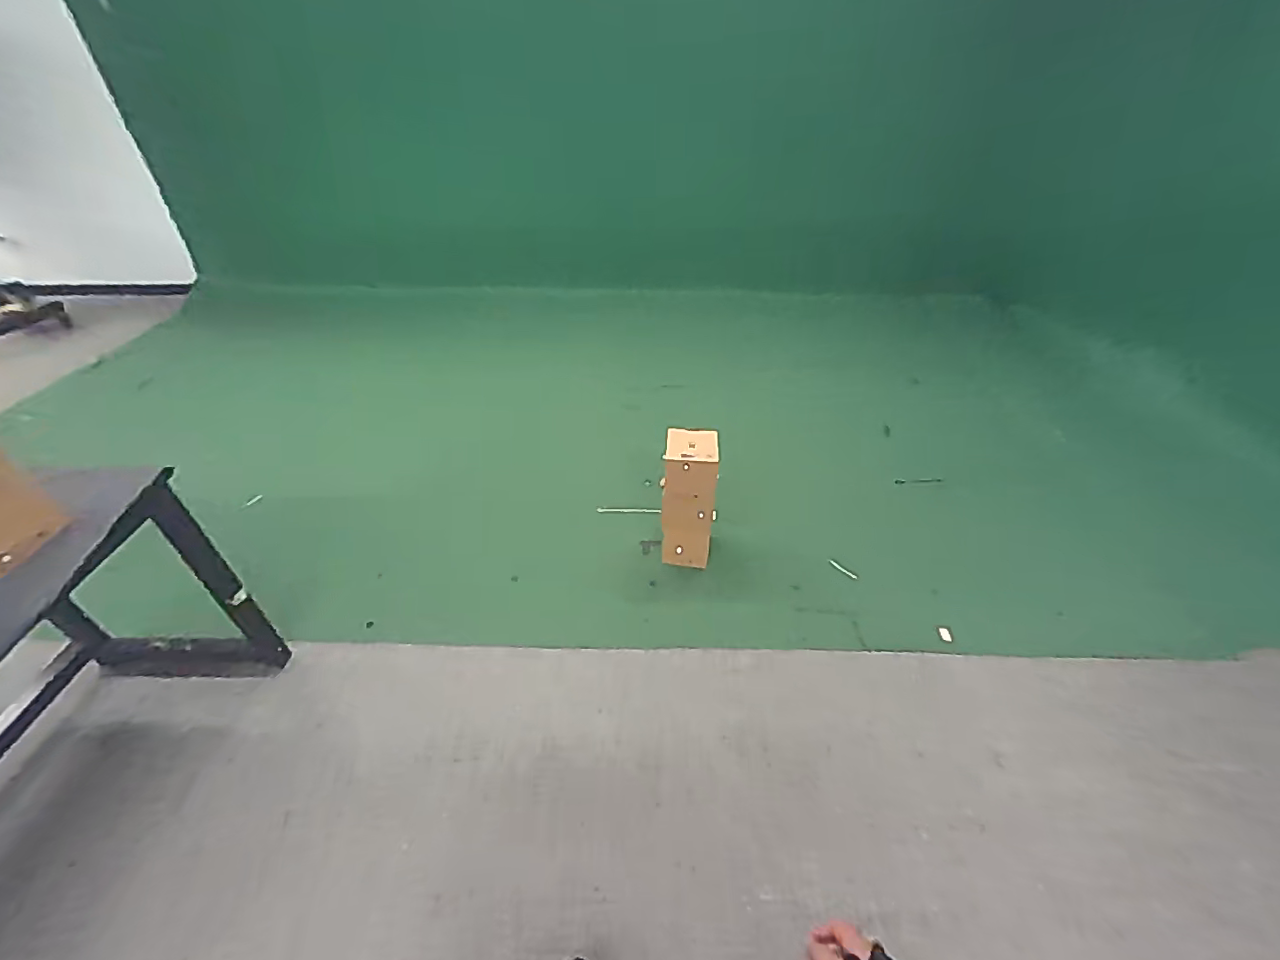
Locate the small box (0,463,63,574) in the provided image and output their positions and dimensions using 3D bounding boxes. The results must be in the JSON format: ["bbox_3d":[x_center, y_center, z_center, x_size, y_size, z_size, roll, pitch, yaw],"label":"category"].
[{"bbox_3d":[-1.243,0.081,0.983,0.179,0.176,0.168,-2,39,3],"label":"small box"}]

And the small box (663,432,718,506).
[{"bbox_3d":[0.165,-0.038,1.782,0.168,0.176,0.179,4,38,3],"label":"small box"}]

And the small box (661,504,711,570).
[{"bbox_3d":[0.170,0.212,1.996,0.168,0.176,0.179,6,39,6],"label":"small box"}]
